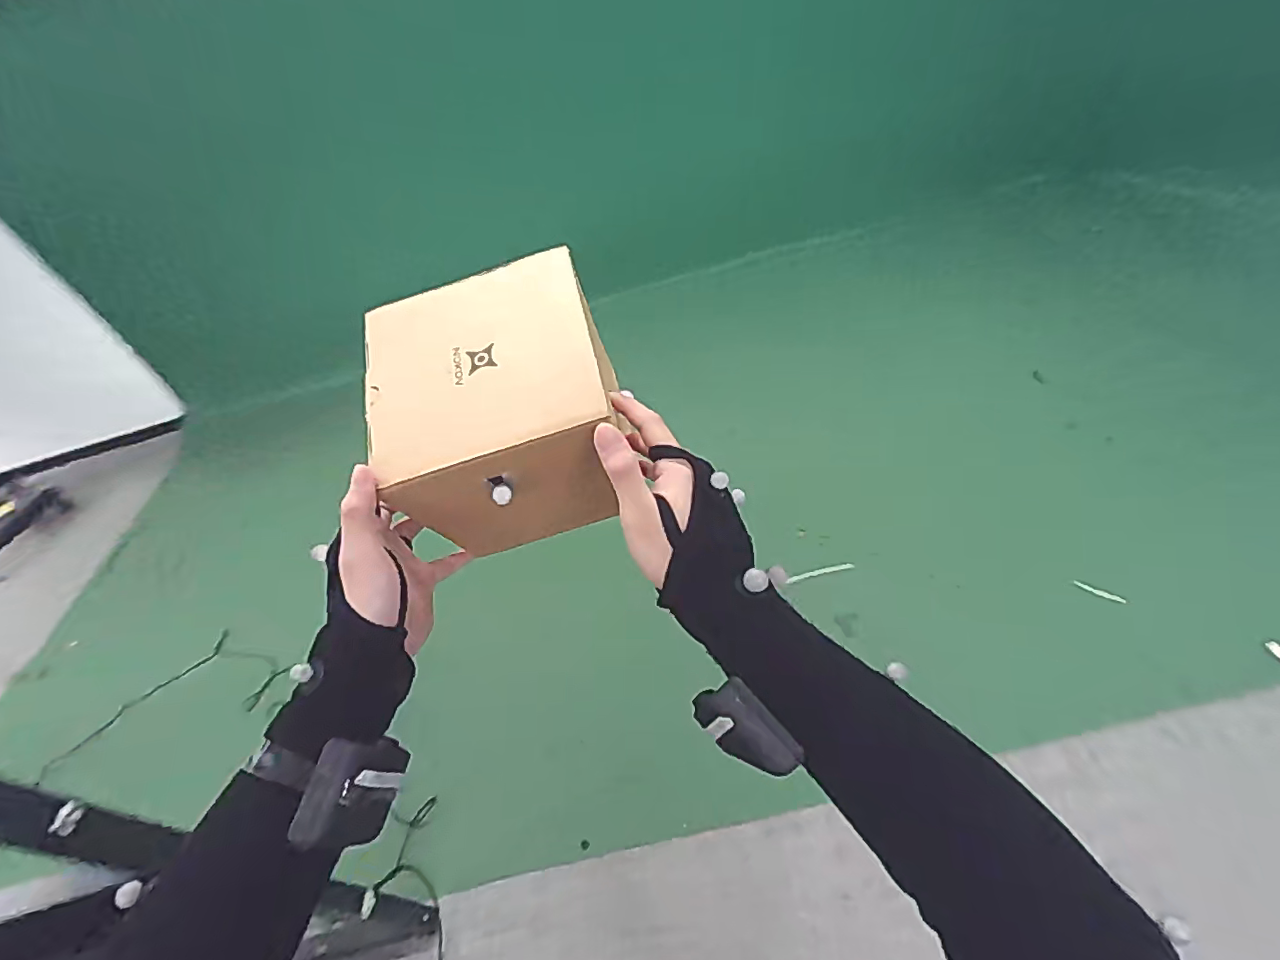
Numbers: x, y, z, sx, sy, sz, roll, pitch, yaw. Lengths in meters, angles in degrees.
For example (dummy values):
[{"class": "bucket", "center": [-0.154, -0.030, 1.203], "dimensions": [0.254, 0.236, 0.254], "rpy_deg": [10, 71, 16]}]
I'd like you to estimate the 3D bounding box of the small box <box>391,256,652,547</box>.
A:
[{"class": "small box", "center": [-0.093, -0.057, 0.484], "dimensions": [0.179, 0.176, 0.168], "rpy_deg": [-17, 63, 5]}]
